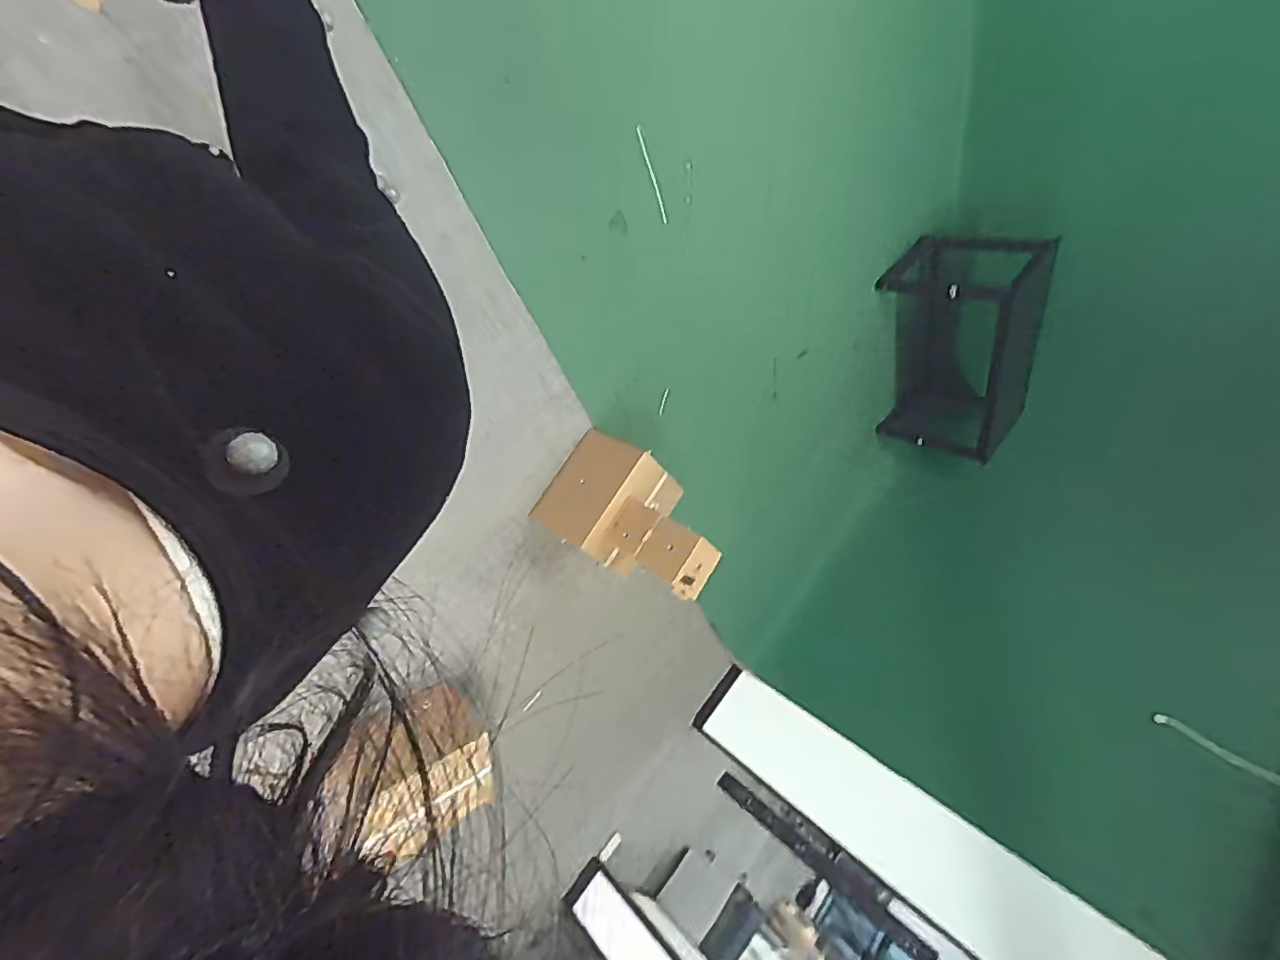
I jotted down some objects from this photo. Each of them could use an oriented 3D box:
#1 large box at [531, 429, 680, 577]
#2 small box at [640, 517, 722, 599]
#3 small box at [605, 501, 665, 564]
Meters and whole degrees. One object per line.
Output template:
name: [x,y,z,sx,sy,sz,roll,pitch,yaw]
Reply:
large box: [-0.126,0.081,2.004,0.408,0.320,0.320,-58,140,-10]
small box: [0.123,0.246,1.721,0.179,0.176,0.168,-57,138,-9]
small box: [0.012,0.189,1.827,0.168,0.176,0.179,-56,138,-9]
